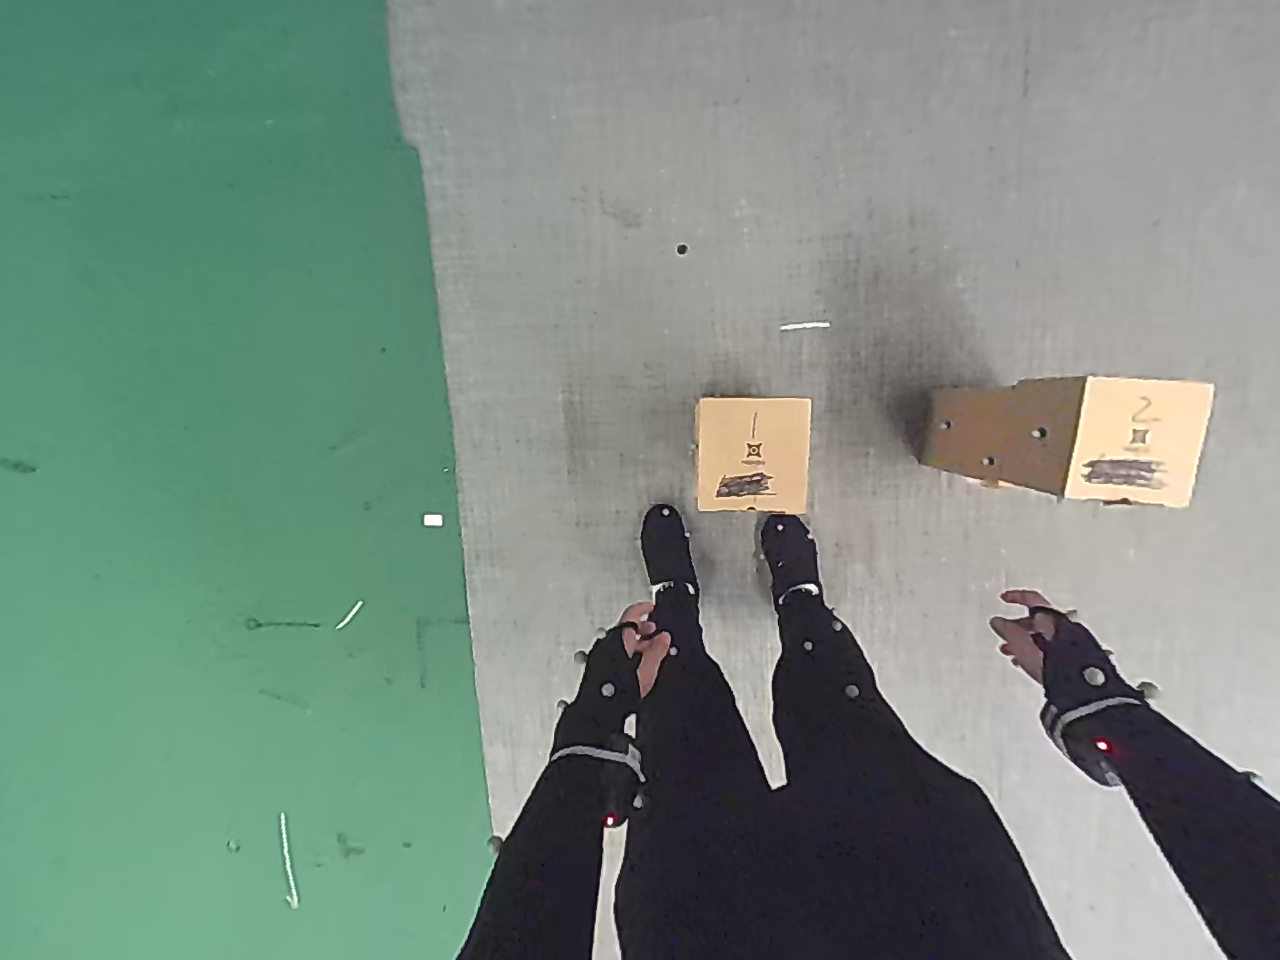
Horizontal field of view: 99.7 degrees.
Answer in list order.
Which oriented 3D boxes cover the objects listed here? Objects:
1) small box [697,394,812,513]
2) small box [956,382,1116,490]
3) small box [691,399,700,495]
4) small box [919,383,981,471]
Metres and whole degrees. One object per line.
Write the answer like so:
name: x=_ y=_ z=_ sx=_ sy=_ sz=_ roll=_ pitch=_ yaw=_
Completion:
small box: x=0.180 y=-0.051 z=0.888 sx=0.168 sy=0.176 sz=0.179 roll=1 pitch=99 yaw=6
small box: x=0.709 y=-0.085 z=0.990 sx=0.168 sy=0.176 sz=0.179 roll=3 pitch=100 yaw=5
small box: x=0.188 y=-0.068 z=1.052 sx=0.168 sy=0.176 sz=0.179 roll=3 pitch=101 yaw=6
small box: x=0.720 y=-0.106 z=1.149 sx=0.168 sy=0.176 sz=0.179 roll=9 pitch=101 yaw=7
